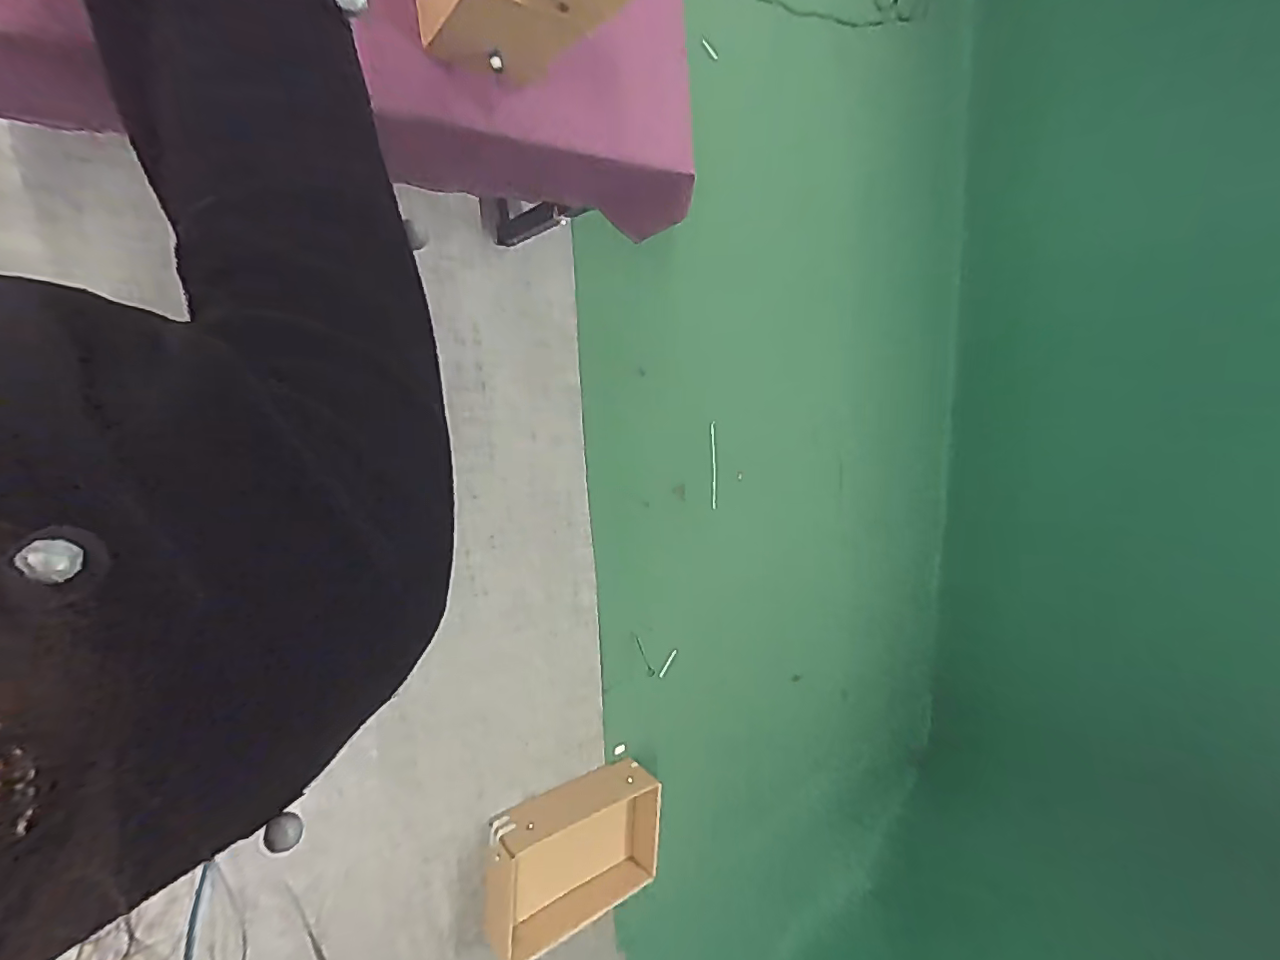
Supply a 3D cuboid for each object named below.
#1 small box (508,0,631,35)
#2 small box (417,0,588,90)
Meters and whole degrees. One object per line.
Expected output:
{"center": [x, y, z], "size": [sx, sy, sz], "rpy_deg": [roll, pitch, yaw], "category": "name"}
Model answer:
{"center": [-0.078, -0.645, 0.585], "size": [0.168, 0.176, 0.179], "rpy_deg": [-12, 105, -40], "category": "small box"}
{"center": [-0.186, -0.661, 0.706], "size": [0.168, 0.176, 0.179], "rpy_deg": [-12, 104, -39], "category": "small box"}
